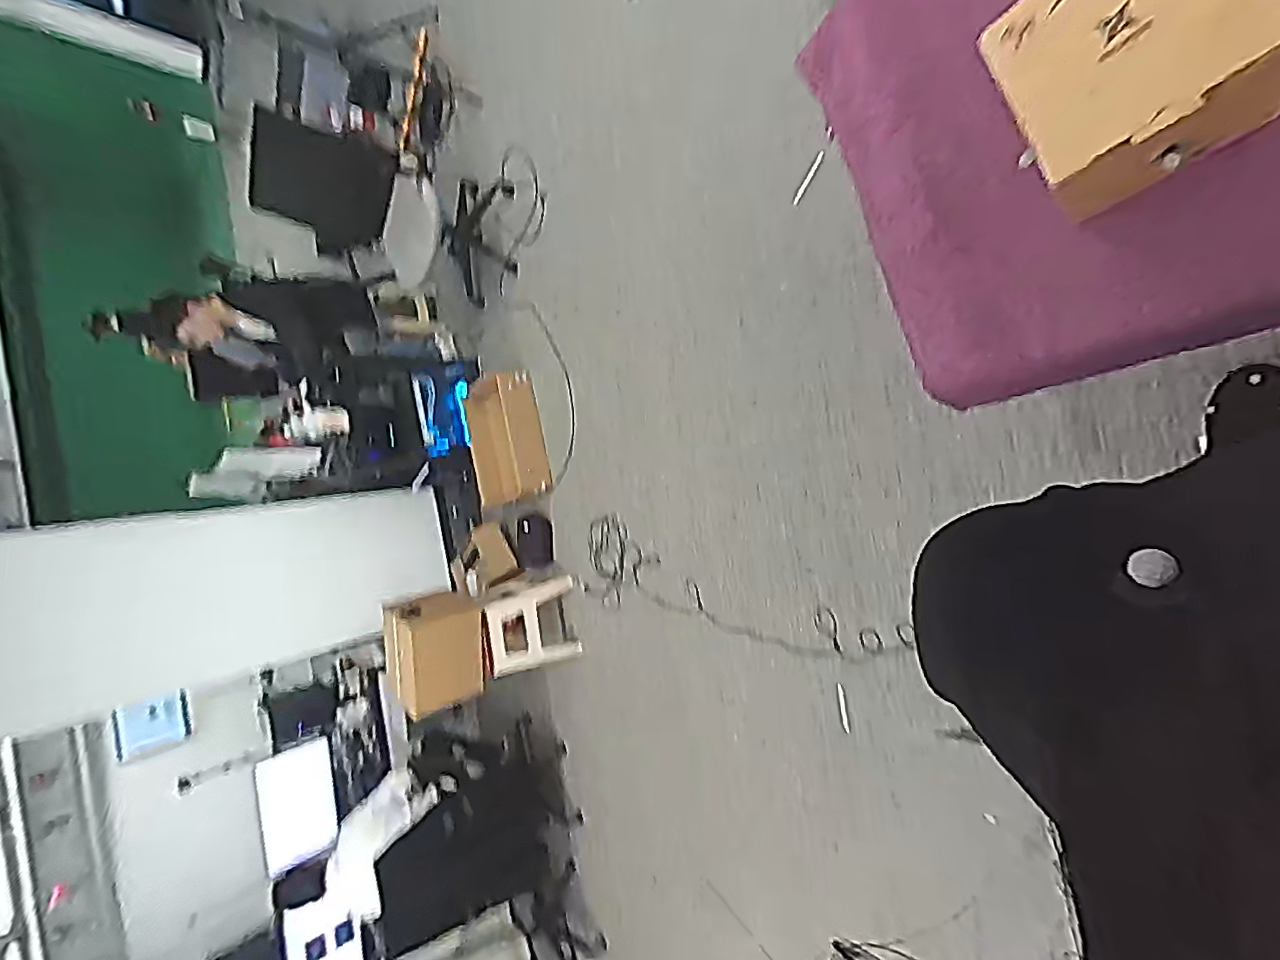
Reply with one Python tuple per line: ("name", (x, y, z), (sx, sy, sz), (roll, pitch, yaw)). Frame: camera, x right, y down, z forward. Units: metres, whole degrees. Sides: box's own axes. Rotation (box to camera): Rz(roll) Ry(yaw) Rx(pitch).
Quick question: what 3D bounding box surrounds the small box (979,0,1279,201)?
("small box", (0.463, -0.395, 0.511), (0.168, 0.176, 0.179), (-27, 77, 44))
